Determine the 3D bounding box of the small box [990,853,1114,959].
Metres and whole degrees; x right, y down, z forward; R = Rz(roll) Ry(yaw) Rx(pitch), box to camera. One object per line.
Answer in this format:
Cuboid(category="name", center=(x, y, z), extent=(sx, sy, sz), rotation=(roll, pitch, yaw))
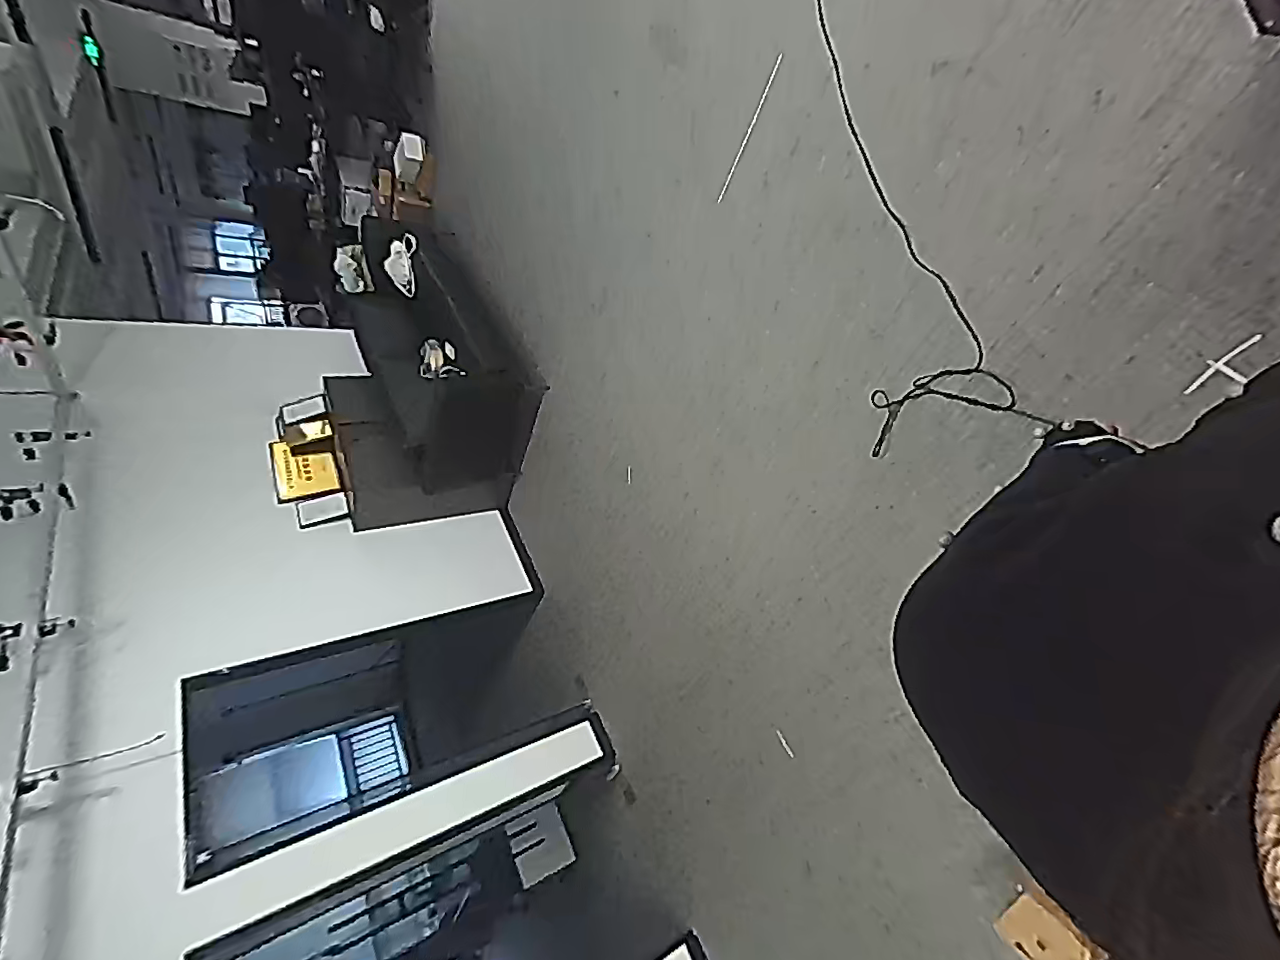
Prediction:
Cuboid(category="small box", center=(1.021, 1.077, 1.337), extent=(0.168, 0.176, 0.179), rotation=(42, 129, 43))
